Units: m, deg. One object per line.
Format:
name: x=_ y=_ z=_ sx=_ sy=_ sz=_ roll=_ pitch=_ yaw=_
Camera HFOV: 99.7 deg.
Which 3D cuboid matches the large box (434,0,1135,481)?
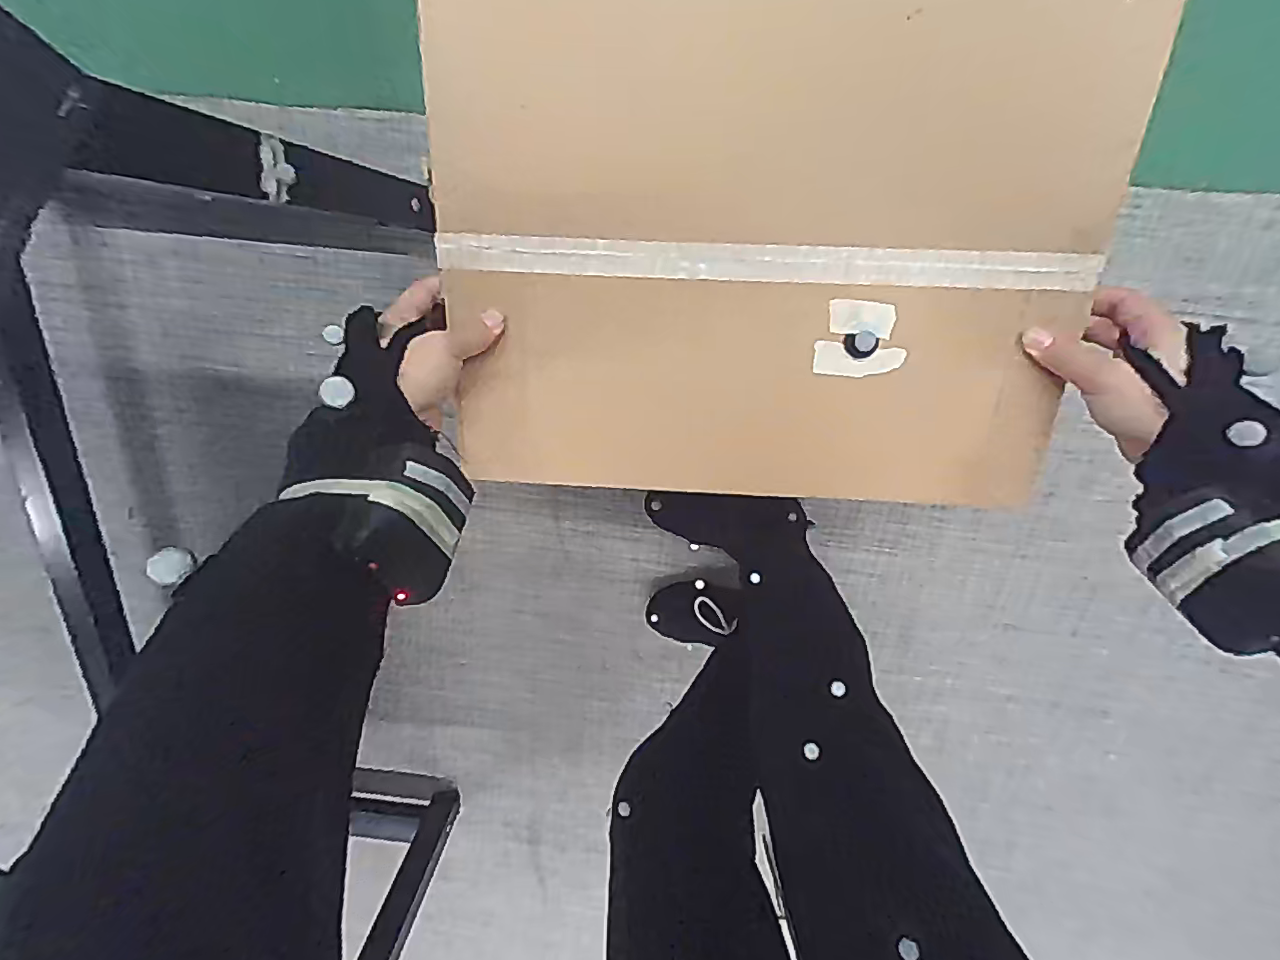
large box: x=0.081 y=-0.197 z=0.493 sx=0.408 sy=0.320 sz=0.320 roll=2 pitch=111 yaw=1
